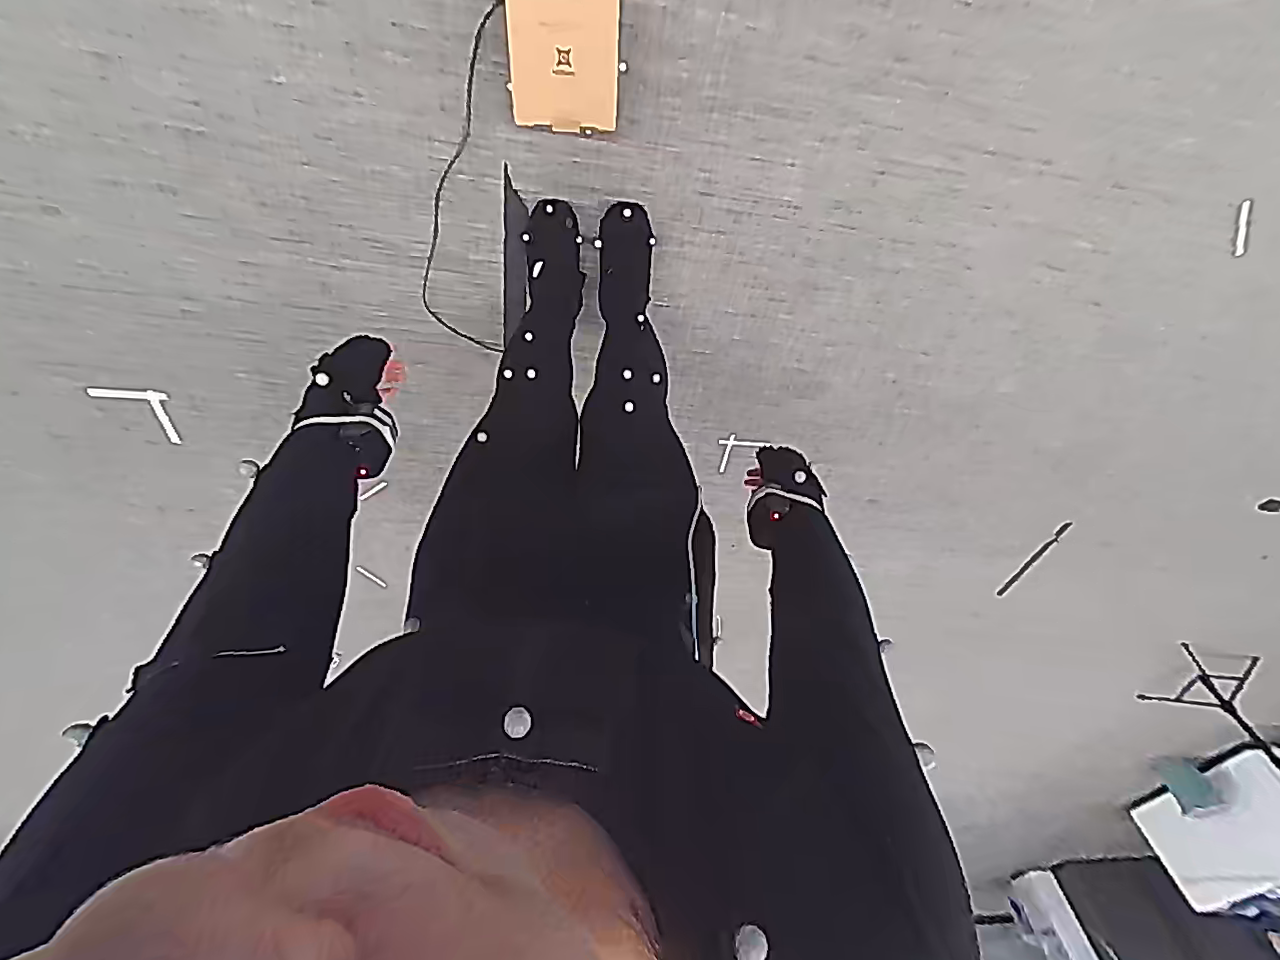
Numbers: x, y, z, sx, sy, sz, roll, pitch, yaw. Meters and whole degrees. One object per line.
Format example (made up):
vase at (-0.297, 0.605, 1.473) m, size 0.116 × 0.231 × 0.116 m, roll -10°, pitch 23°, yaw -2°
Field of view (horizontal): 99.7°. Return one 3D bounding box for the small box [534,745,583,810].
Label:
small box at (-0.286, 1.052, 1.905) m, size 0.168 × 0.176 × 0.179 m, roll 3°, pitch 130°, yaw -6°

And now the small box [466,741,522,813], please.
small box at (-0.504, 1.029, 1.869) m, size 0.168 × 0.176 × 0.179 m, roll 6°, pitch 130°, yaw -10°

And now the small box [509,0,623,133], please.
small box at (-0.116, -0.688, 0.881) m, size 0.168 × 0.176 × 0.179 m, roll 0°, pitch 130°, yaw -6°
